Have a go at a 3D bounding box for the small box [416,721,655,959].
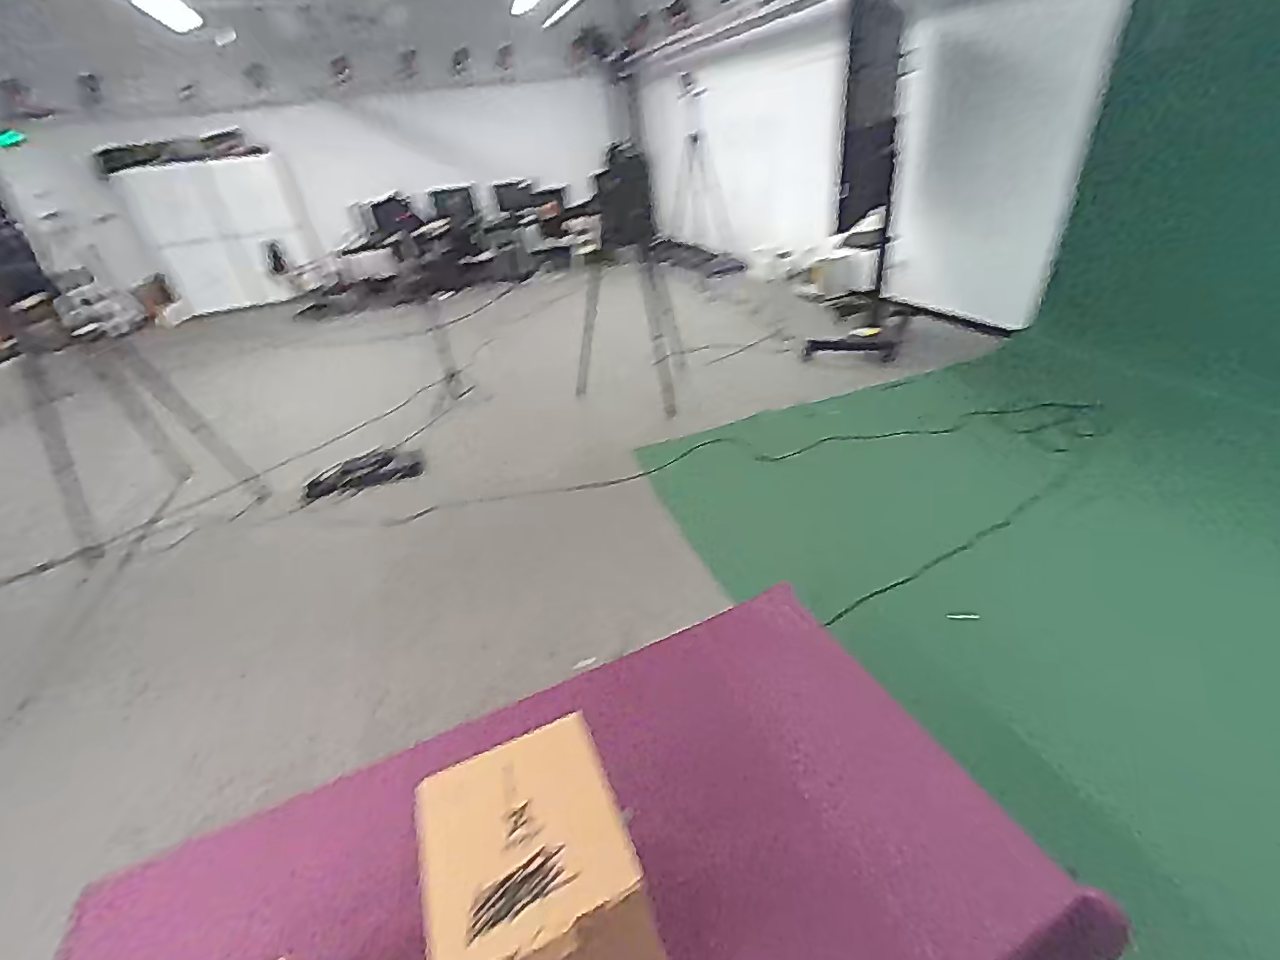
[{"bbox_3d":[-0.097,0.379,0.512,0.168,0.176,0.179,-19,32,-17],"label":"small box"}]
